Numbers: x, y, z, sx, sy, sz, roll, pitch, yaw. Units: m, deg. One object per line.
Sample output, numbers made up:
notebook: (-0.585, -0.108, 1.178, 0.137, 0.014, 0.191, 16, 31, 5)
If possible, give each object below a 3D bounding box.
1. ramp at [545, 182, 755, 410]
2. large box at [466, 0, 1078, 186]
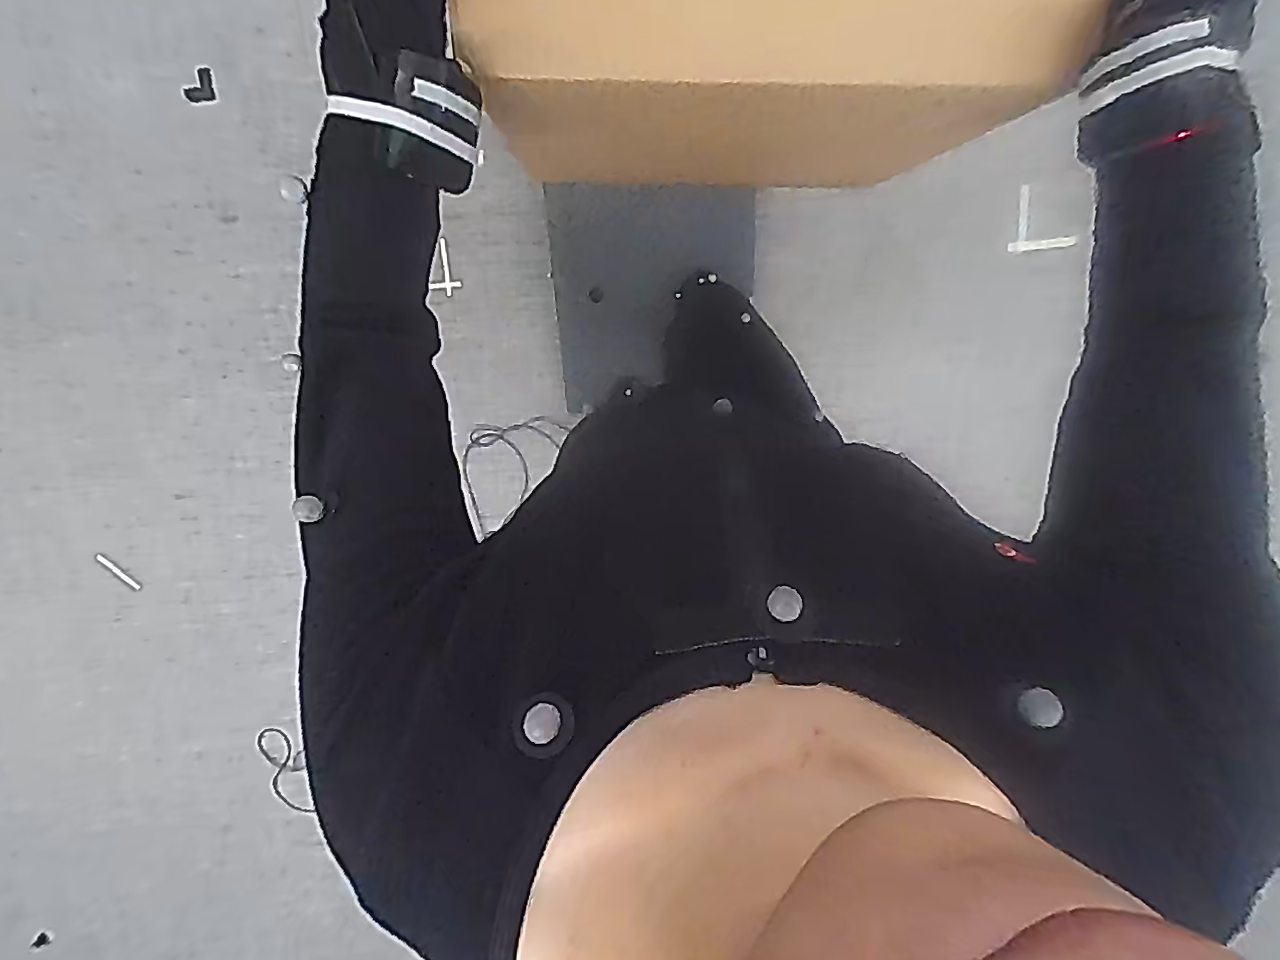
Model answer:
ramp: (0.026, -0.664, 1.261, 0.509, 0.206, 0.991, -6, 103, -1)
large box: (0.079, -0.454, 0.455, 0.408, 0.320, 0.320, -1, 108, -3)
